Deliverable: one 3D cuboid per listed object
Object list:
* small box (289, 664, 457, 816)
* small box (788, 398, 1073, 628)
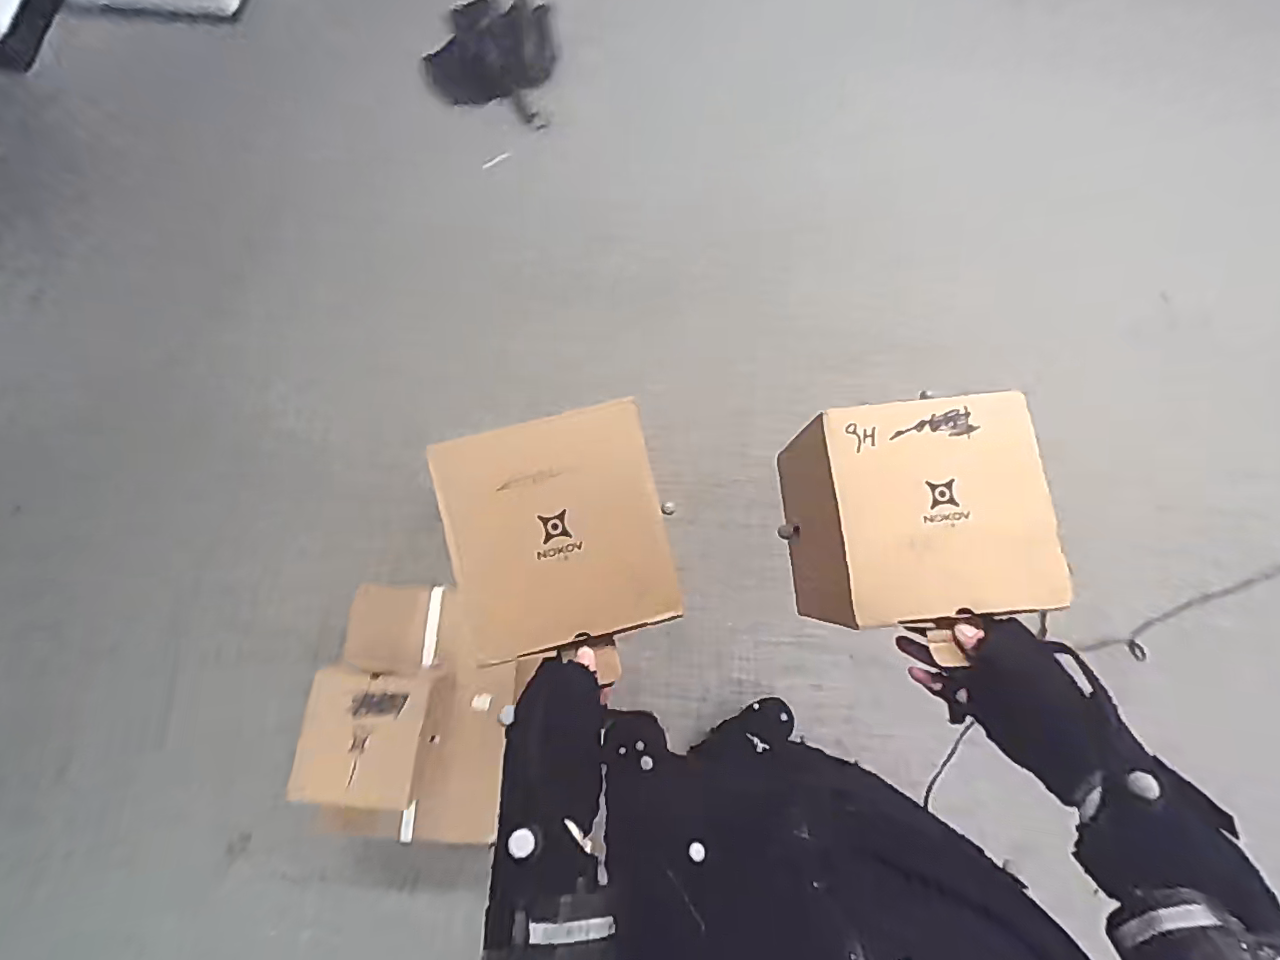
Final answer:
[{"bbox_3d":[-0.398,0.392,0.845,0.168,0.176,0.179,10,74,-2],"label":"small box"},{"bbox_3d":[0.248,0.036,0.508,0.168,0.176,0.179,-5,80,0],"label":"small box"}]
